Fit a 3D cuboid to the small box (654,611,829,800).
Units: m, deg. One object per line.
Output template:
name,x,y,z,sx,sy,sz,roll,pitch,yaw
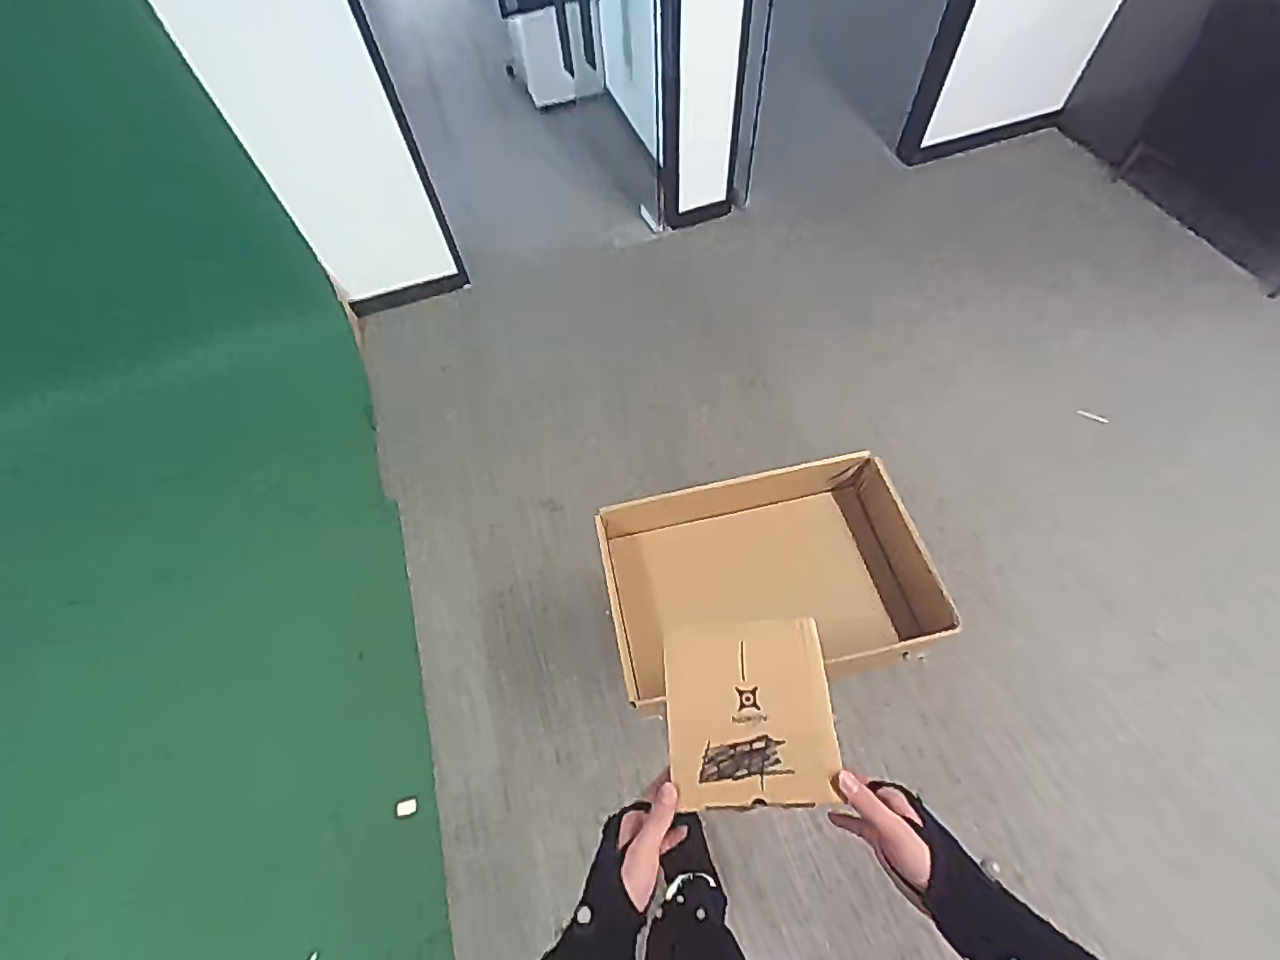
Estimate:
small box,0.110,0.259,0.628,0.168,0.176,0.179,-6,65,6
